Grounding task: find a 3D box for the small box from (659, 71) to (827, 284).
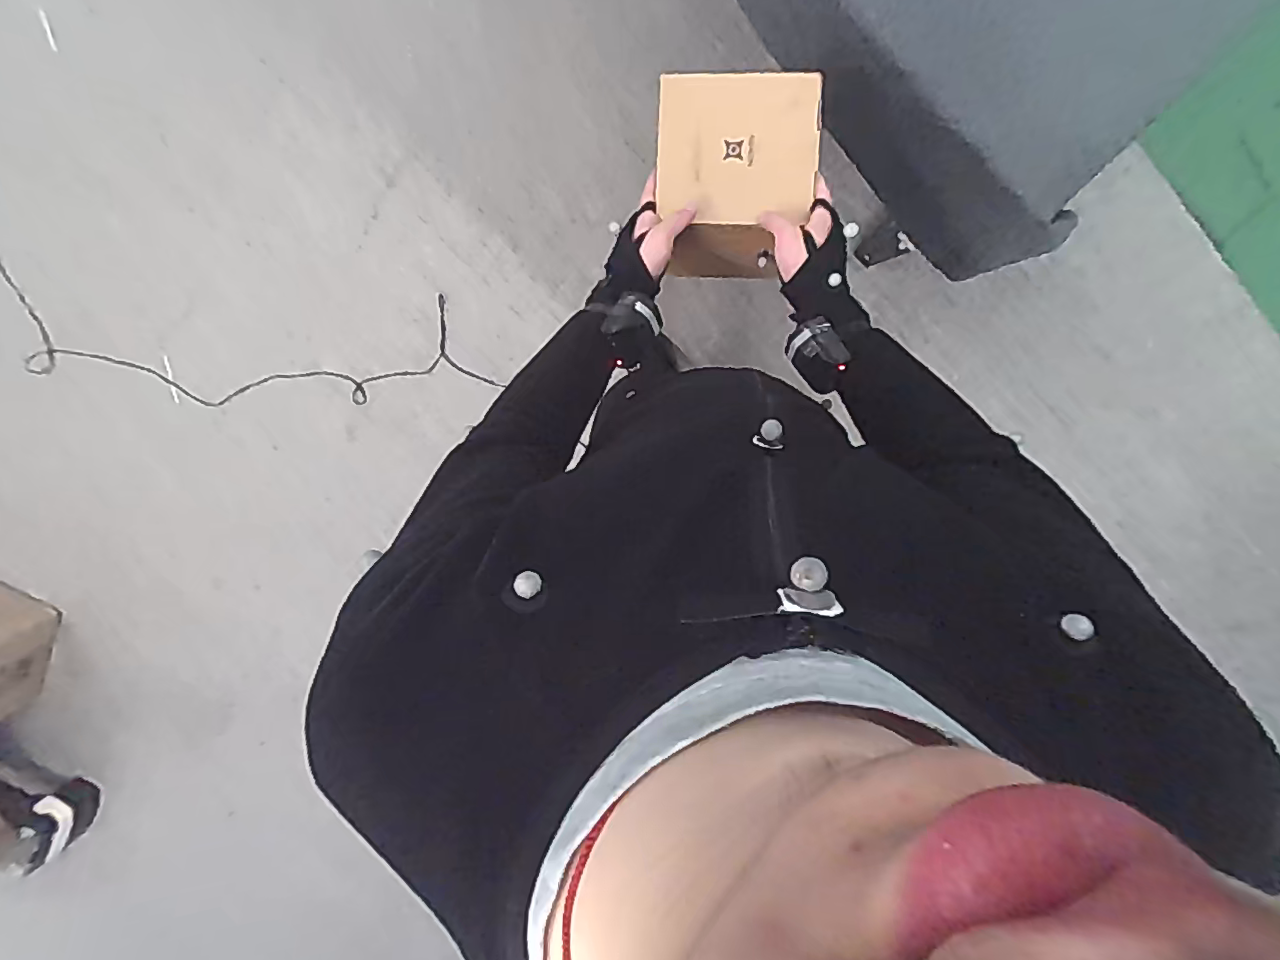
[{"bbox_3d":[0.112,-0.347,0.650,0.179,0.176,0.168,0,89,4],"label":"small box"}]
